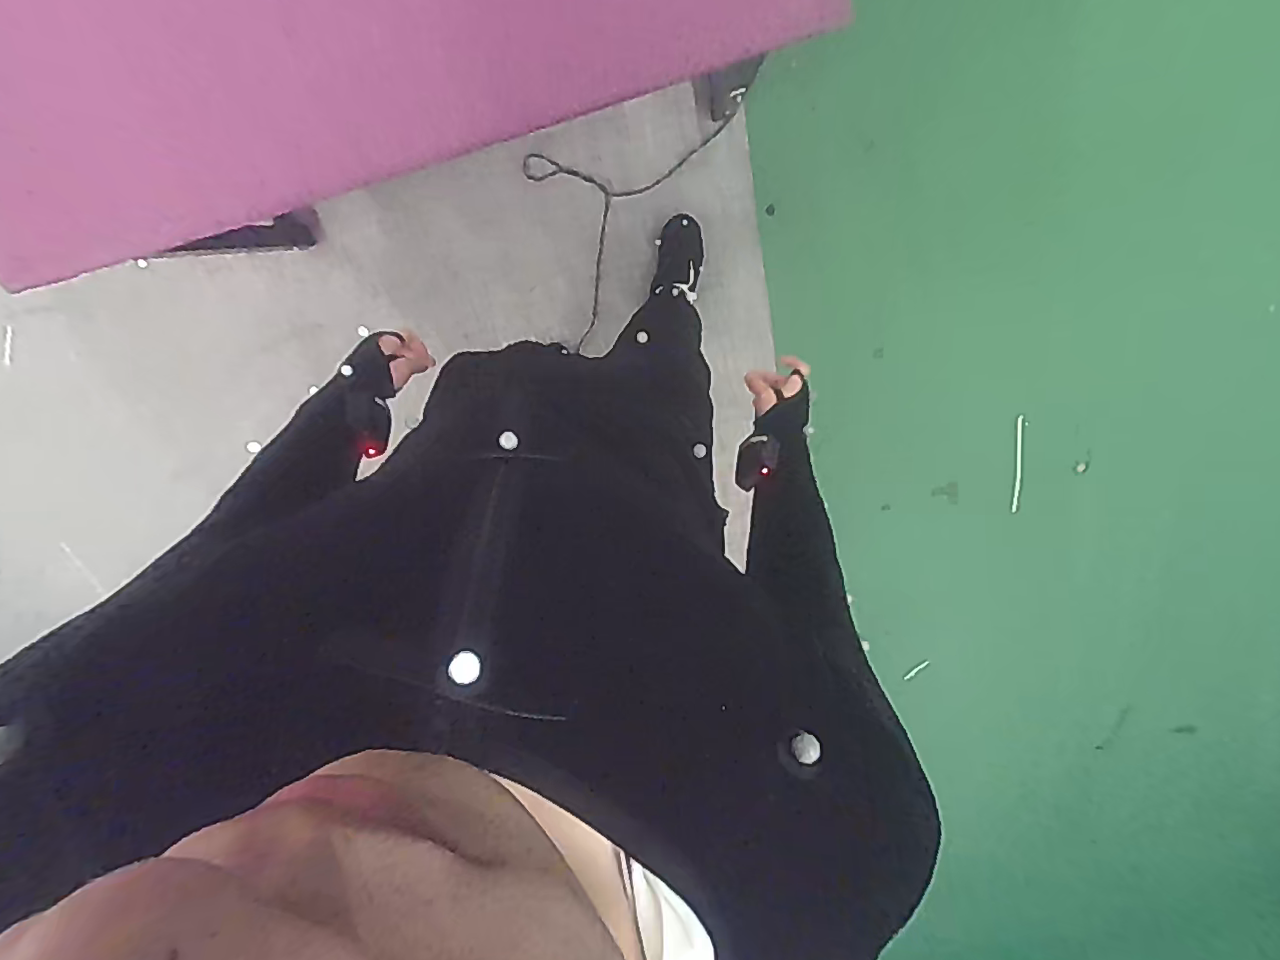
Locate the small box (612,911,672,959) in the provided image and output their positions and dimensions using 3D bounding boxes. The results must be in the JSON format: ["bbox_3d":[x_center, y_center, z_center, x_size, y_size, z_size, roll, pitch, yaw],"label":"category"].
[{"bbox_3d":[0.010,1.452,1.639,0.168,0.176,0.179,-5,114,5],"label":"small box"}]
